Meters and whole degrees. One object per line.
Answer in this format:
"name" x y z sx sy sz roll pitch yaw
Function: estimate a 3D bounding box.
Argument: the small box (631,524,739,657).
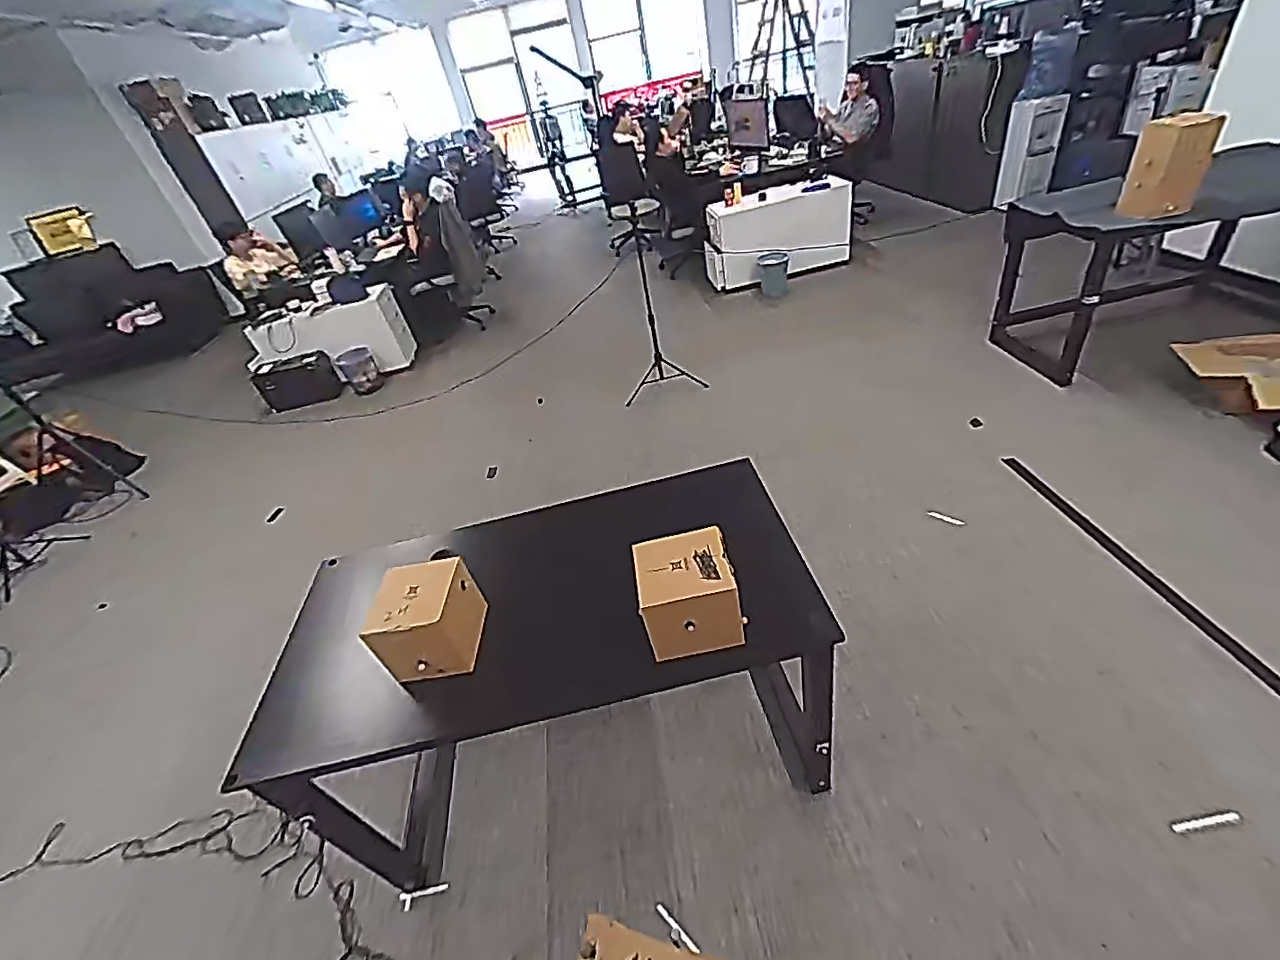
"small box" 0.090 0.216 1.050 0.179 0.176 0.168 -14 37 3

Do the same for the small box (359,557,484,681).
"small box" -0.443 0.290 1.130 0.168 0.176 0.179 -11 38 5
